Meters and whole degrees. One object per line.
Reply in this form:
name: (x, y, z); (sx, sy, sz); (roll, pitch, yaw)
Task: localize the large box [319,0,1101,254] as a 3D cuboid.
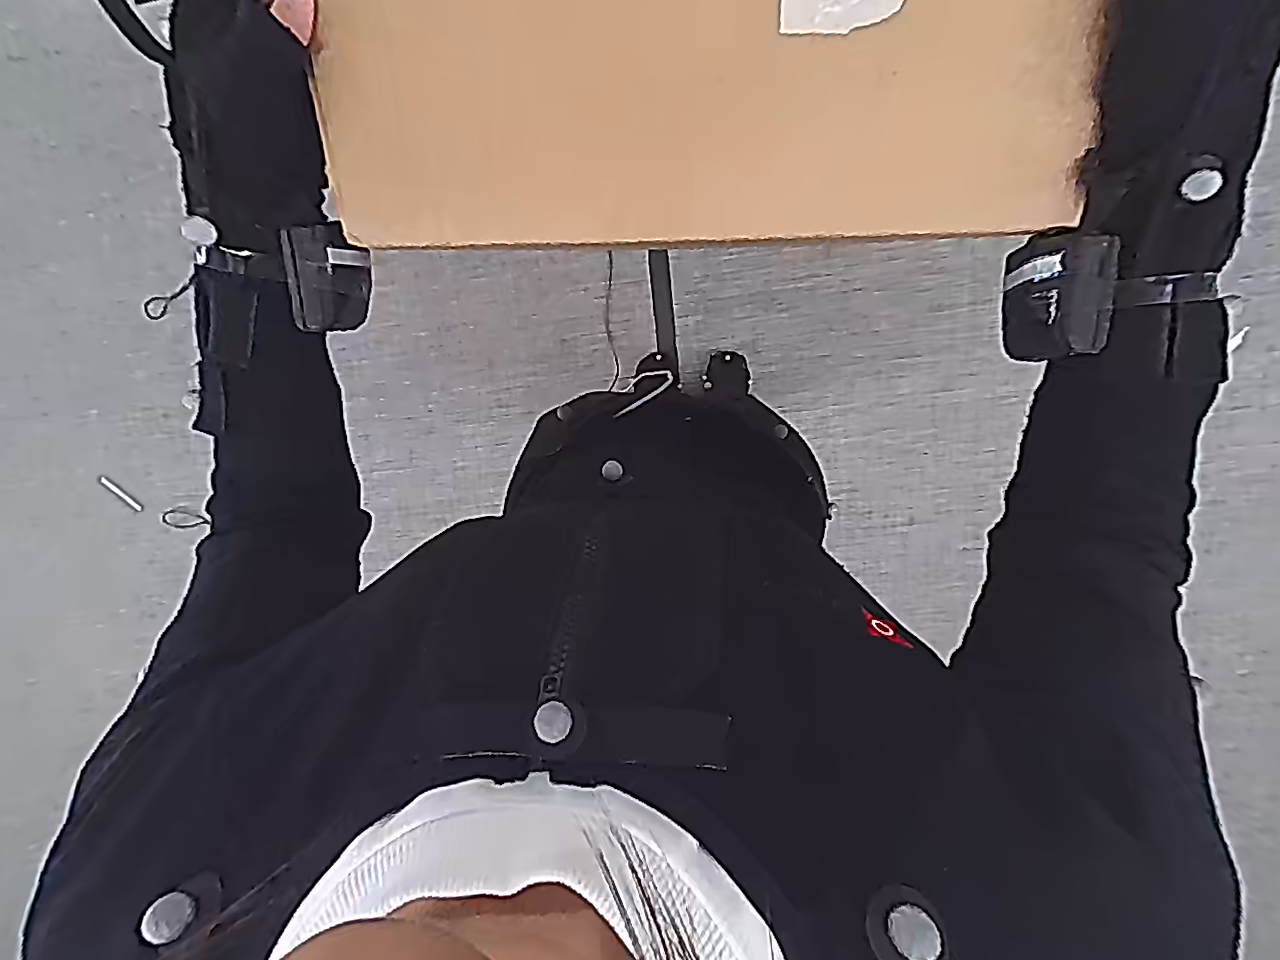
large box: (0.035, -0.342, 0.396); (0.408, 0.320, 0.320); (-1, 113, 3)
